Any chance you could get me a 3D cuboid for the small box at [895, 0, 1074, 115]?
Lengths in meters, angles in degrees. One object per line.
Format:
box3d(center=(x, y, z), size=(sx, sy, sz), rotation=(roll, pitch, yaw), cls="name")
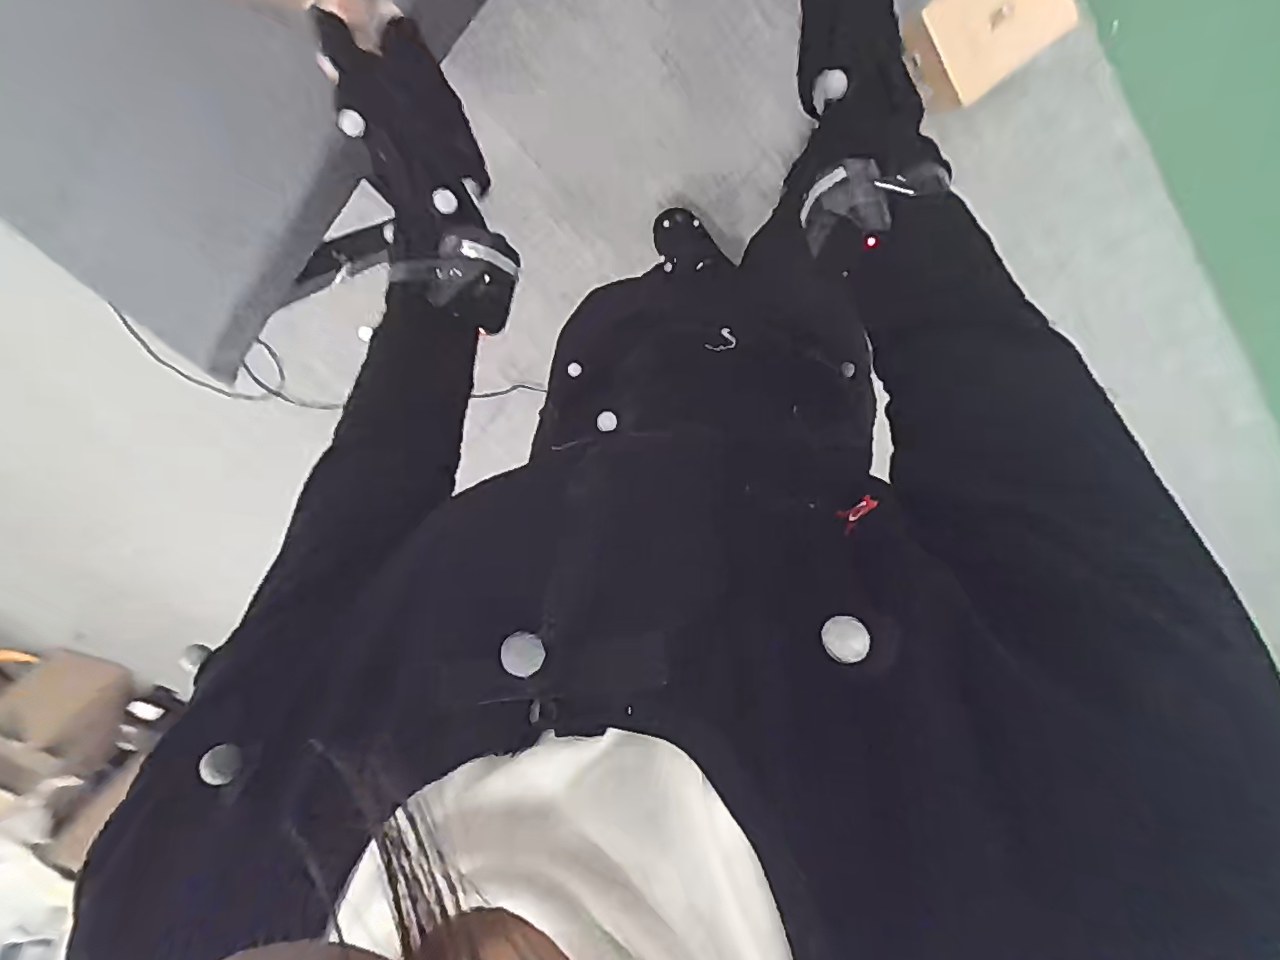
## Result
box3d(center=(0.559, -0.749, 0.899), size=(0.179, 0.176, 0.168), rotation=(-32, 113, 28), cls="small box")
